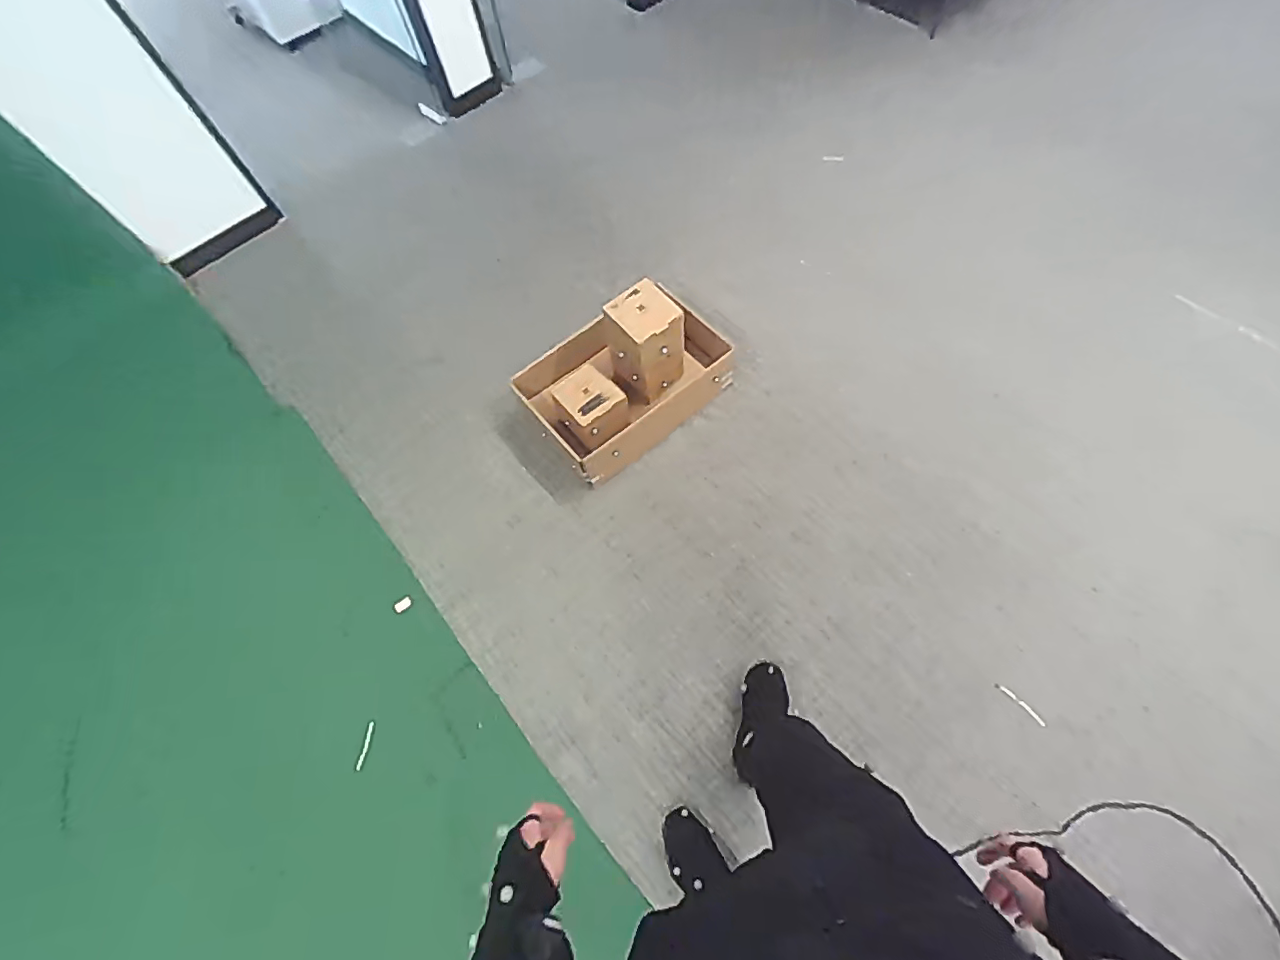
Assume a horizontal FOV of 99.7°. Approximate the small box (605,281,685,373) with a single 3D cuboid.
[{"bbox_3d":[0.020,-0.444,1.604,0.168,0.176,0.179,-37,69,-11],"label":"small box"}]
